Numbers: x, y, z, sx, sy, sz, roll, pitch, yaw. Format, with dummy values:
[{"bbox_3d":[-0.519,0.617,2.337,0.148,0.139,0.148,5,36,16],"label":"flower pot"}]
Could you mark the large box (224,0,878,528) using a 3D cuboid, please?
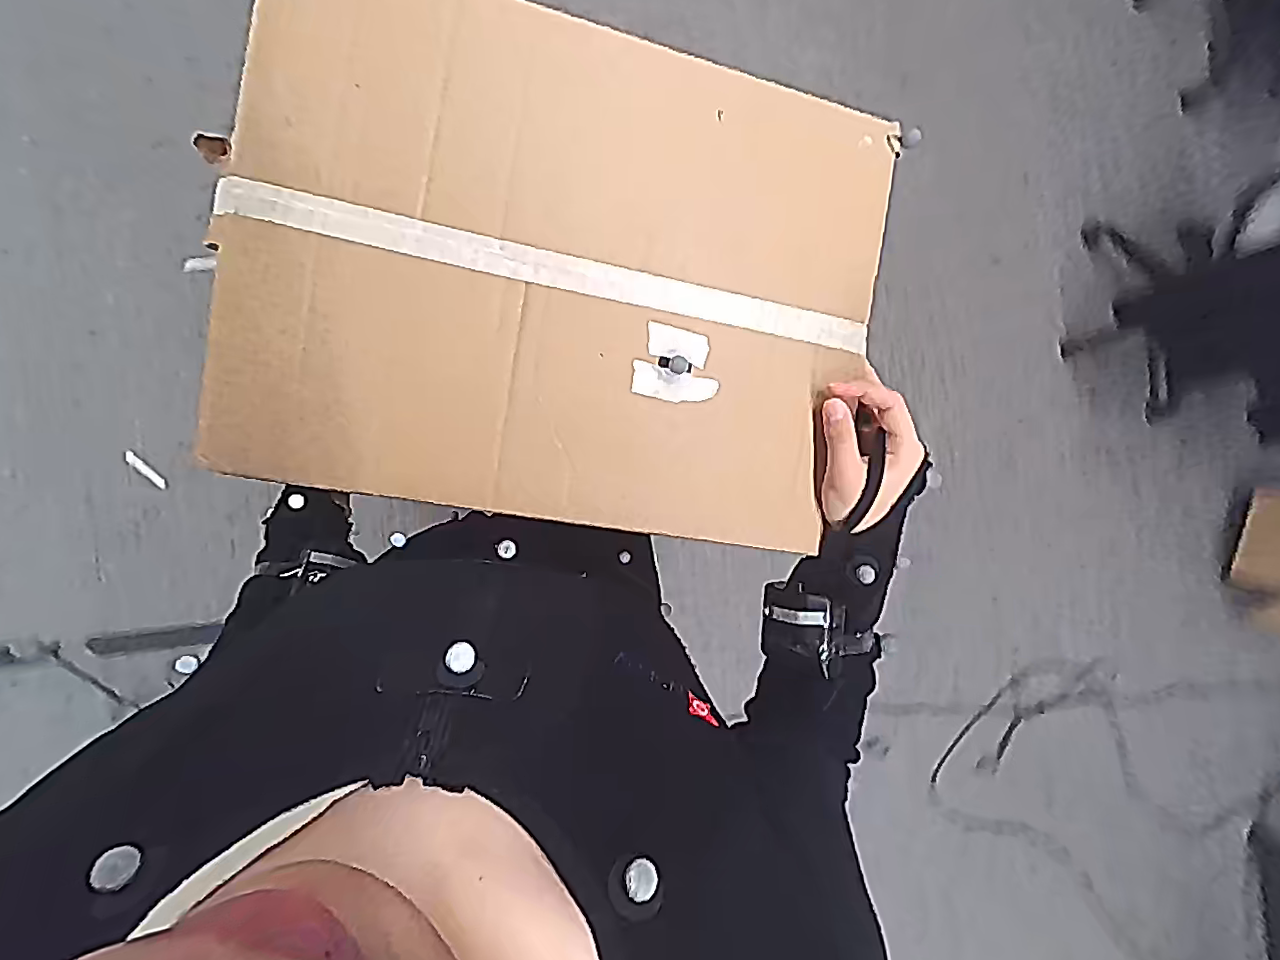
[{"bbox_3d":[-0.068,-0.144,0.498,0.408,0.320,0.320,7,92,-13],"label":"large box"}]
